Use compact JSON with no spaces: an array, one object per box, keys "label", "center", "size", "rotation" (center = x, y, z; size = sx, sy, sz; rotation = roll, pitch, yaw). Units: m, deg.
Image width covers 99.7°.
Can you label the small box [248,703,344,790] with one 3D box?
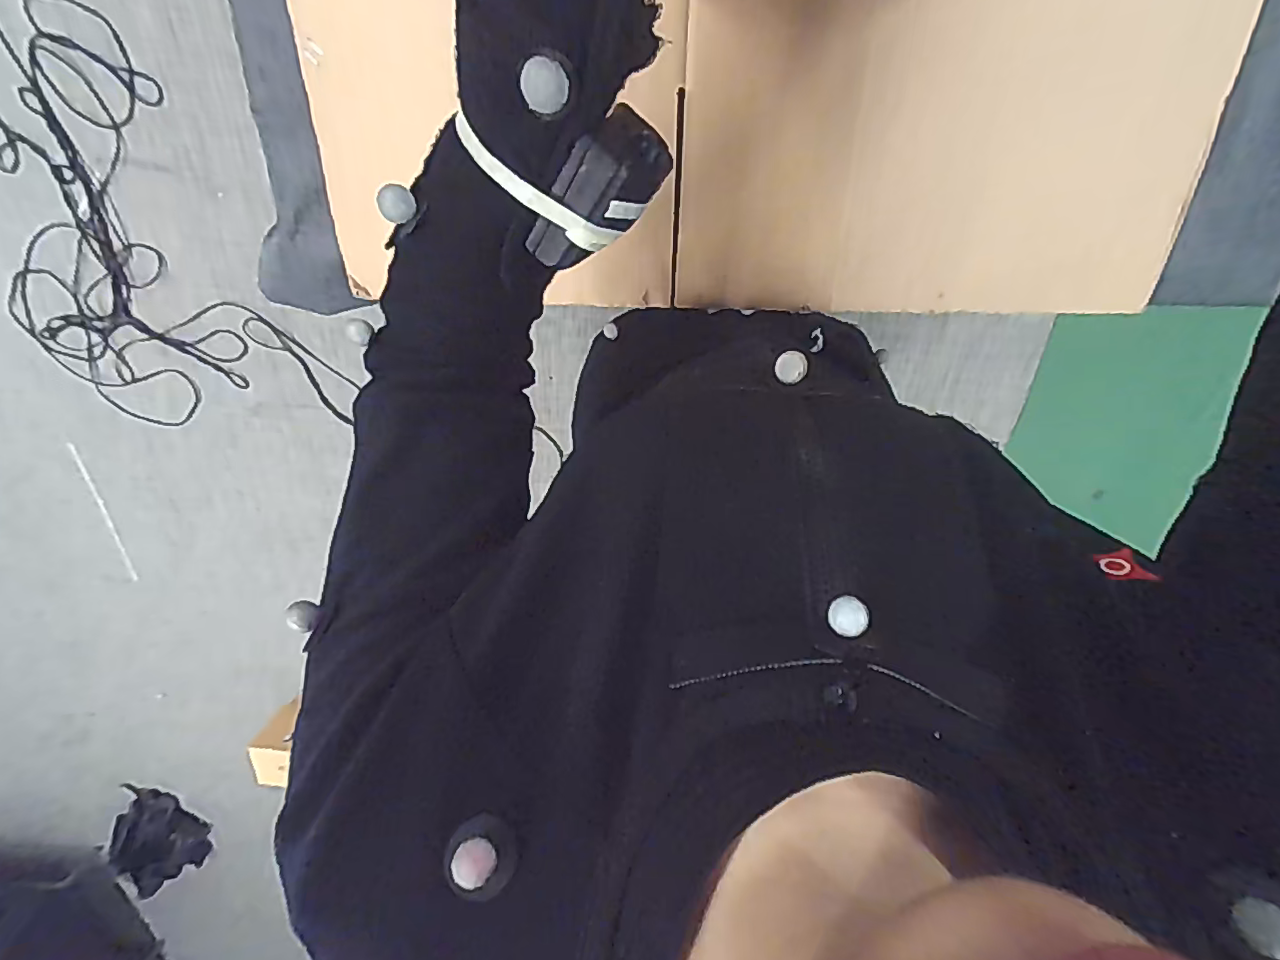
[{"label":"small box","center":[-1.042,0.807,1.650],"size":[0.179,0.176,0.168],"rotation":[7,116,0]}]
